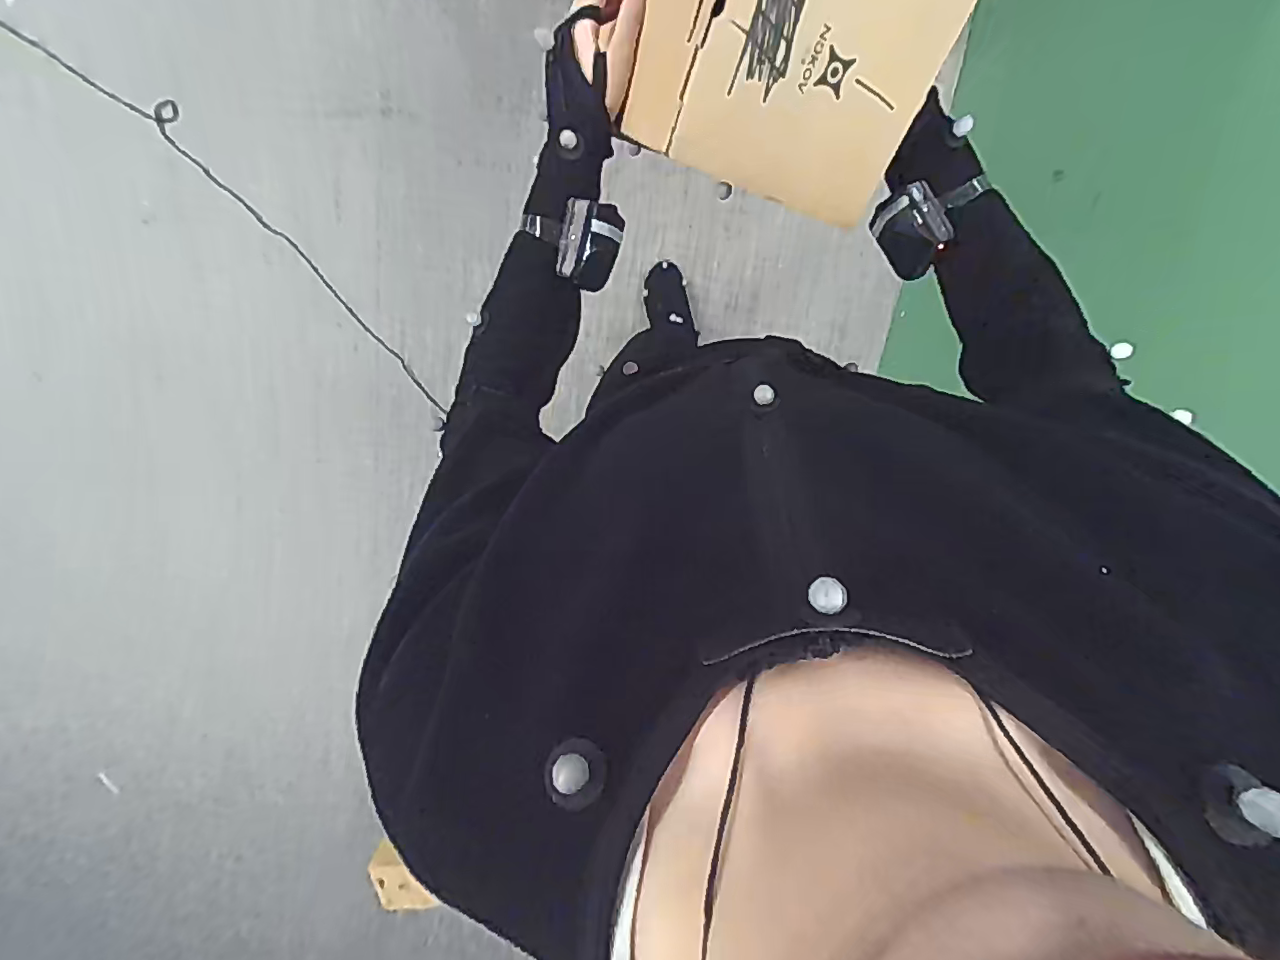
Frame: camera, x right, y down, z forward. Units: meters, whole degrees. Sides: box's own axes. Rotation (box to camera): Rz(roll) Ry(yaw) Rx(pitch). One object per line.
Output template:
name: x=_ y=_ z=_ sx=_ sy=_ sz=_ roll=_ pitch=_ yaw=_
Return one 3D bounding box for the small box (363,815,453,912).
small box: x=-0.666 y=1.113 z=1.579 sx=0.179 sy=0.176 sz=0.168 roll=-8 pitch=105 yaw=5

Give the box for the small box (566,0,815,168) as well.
small box: x=0.037 y=-0.433 z=0.513 sx=0.168 sy=0.176 sz=0.179 roll=4 pitch=128 yaw=-26
